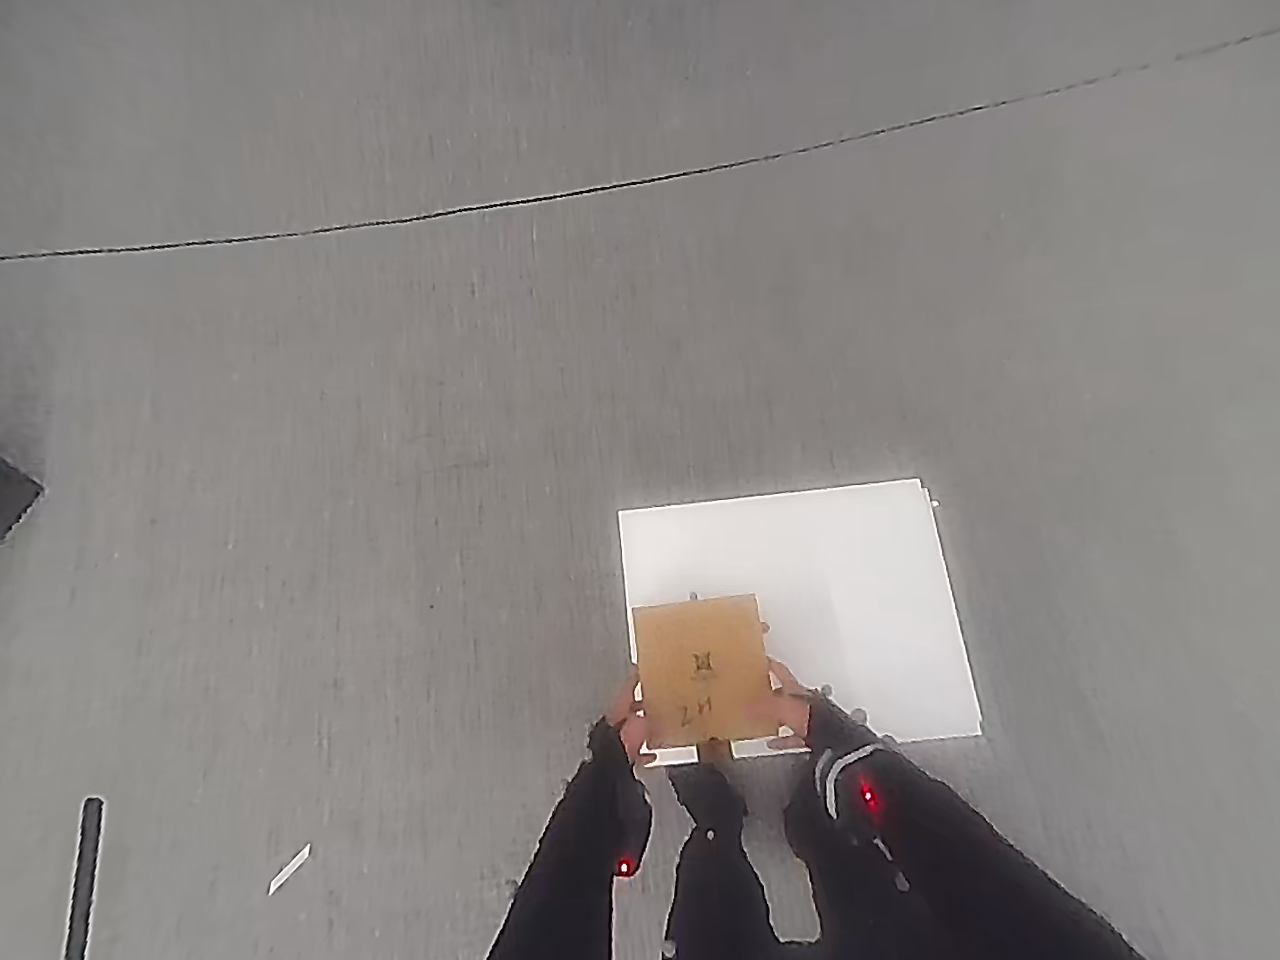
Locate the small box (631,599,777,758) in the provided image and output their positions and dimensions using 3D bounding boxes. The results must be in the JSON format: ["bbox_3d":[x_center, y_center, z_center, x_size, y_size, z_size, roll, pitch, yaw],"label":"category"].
[{"bbox_3d":[0.081,0.267,0.752,0.168,0.176,0.179,-8,75,2],"label":"small box"}]
